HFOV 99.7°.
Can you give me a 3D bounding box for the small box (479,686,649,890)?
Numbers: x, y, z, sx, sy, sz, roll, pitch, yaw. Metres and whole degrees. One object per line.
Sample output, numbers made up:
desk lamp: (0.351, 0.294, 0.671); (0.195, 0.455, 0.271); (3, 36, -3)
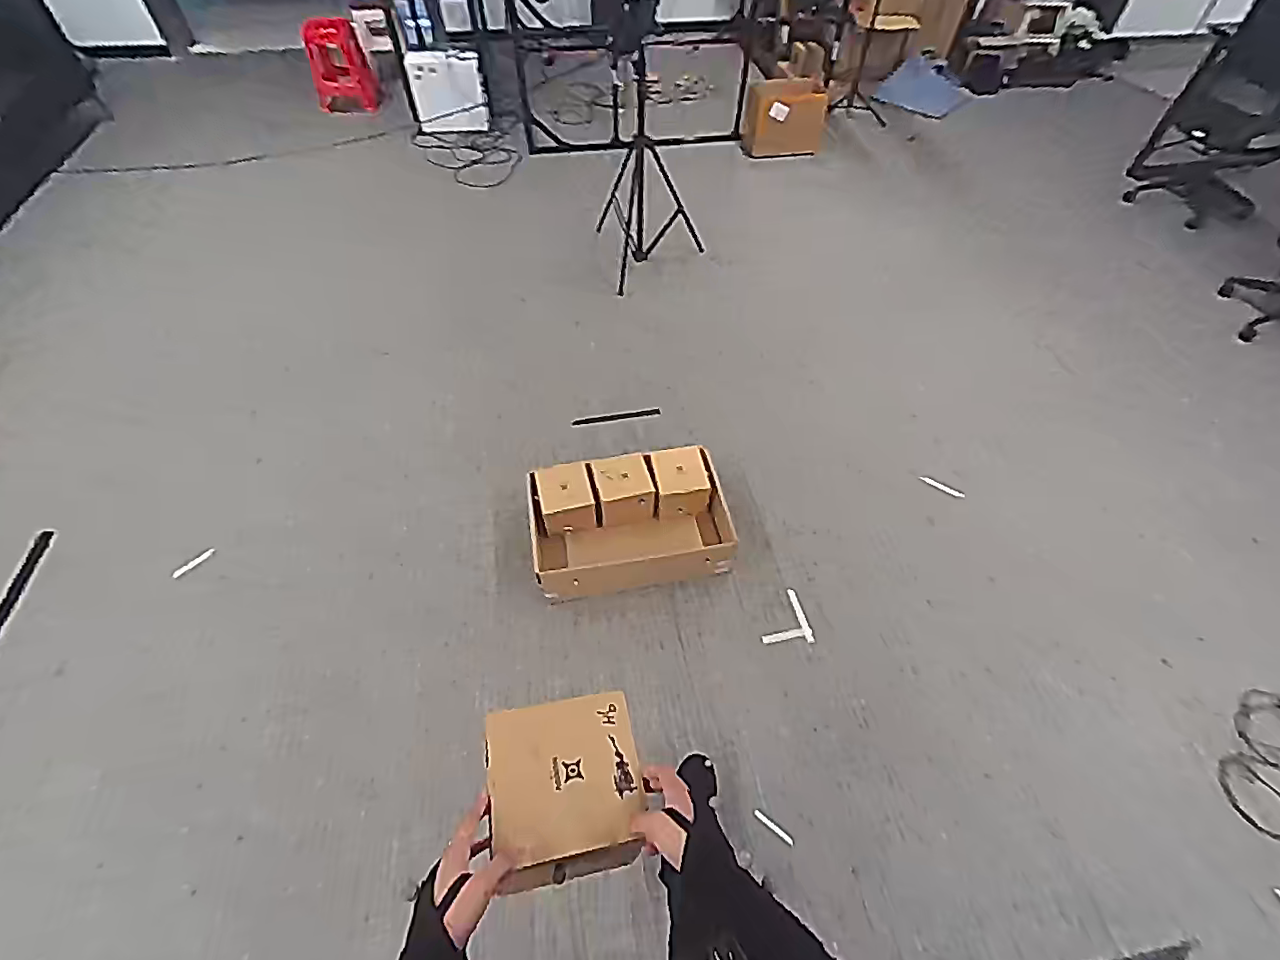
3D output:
small box: (-0.101, 0.383, 0.673); (0.179, 0.176, 0.168); (-4, 48, -15)
